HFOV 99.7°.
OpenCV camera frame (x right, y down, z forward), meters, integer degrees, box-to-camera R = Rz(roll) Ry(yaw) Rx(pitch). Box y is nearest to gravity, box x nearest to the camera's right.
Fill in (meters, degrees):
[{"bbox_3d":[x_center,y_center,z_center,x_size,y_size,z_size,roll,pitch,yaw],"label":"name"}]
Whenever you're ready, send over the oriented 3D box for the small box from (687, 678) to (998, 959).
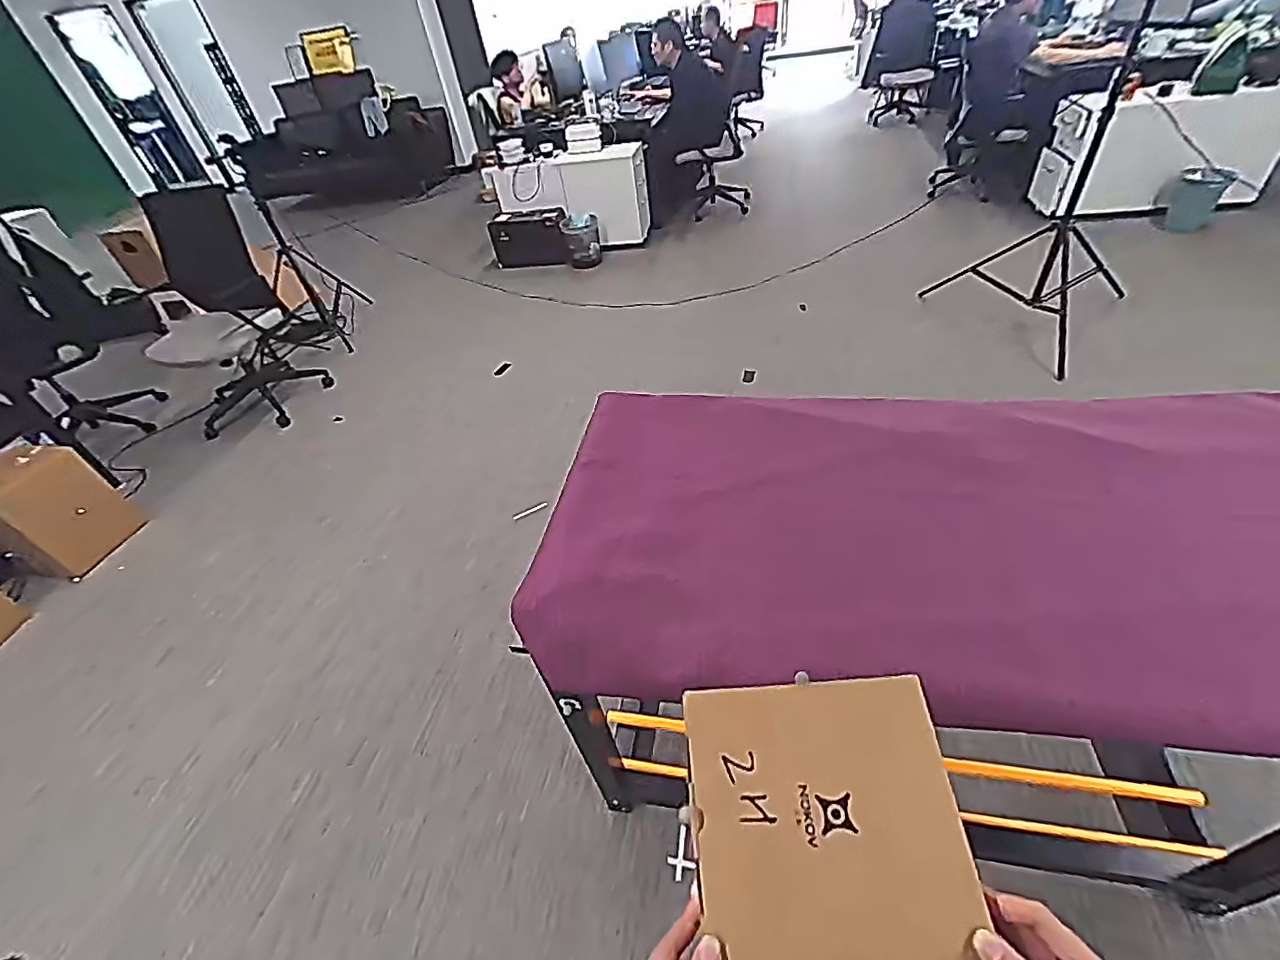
[{"bbox_3d":[0.133,0.263,0.432,0.179,0.176,0.168,-6,58,5],"label":"small box"}]
